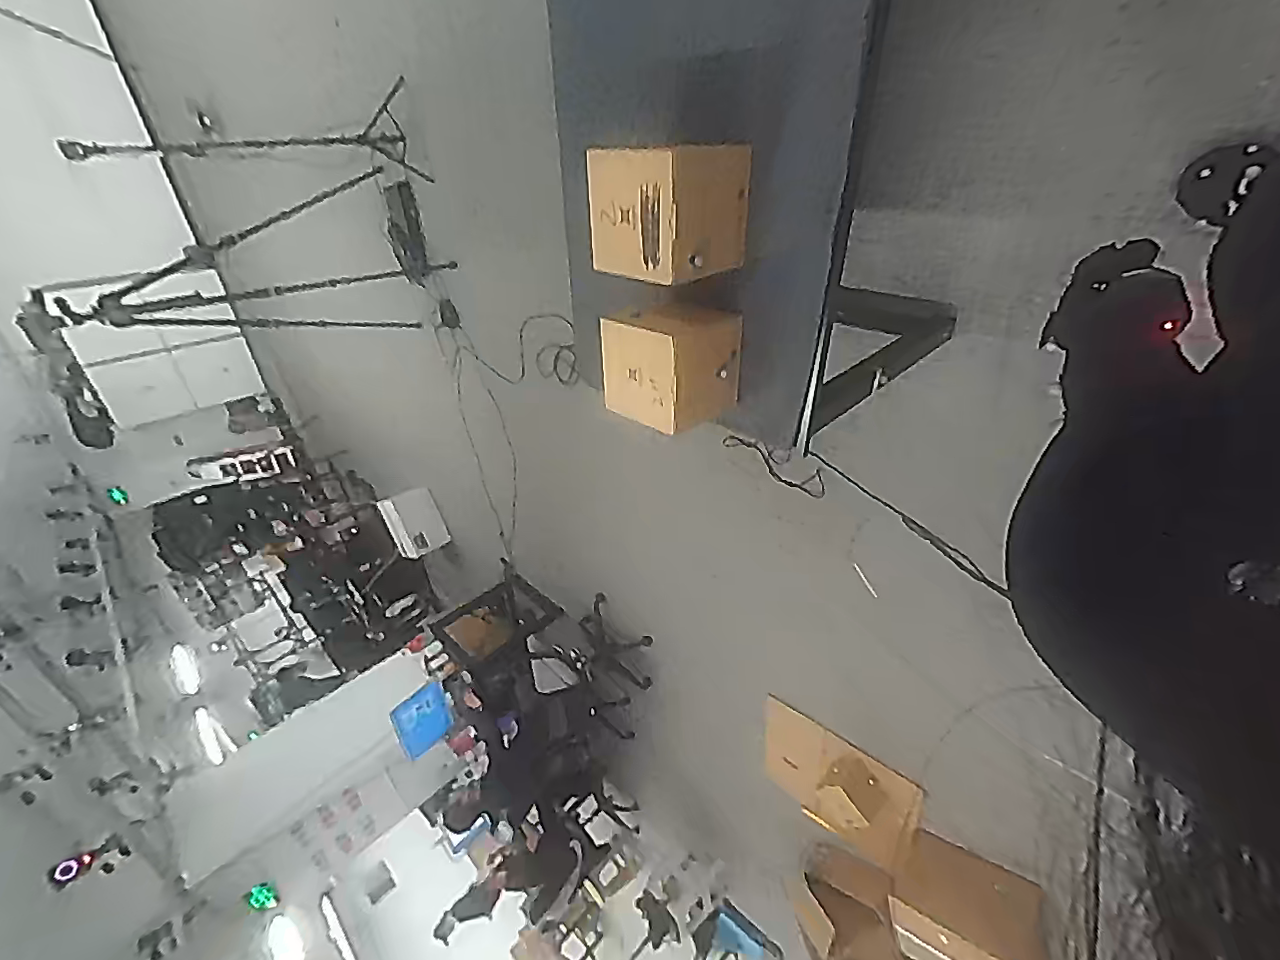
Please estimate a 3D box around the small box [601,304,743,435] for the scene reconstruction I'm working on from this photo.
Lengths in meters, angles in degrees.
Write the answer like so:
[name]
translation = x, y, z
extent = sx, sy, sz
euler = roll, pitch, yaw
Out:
[small box]
translation = 0.054, -0.201, 0.939
extent = 0.179, 0.176, 0.168
euler = 26, 131, 39
